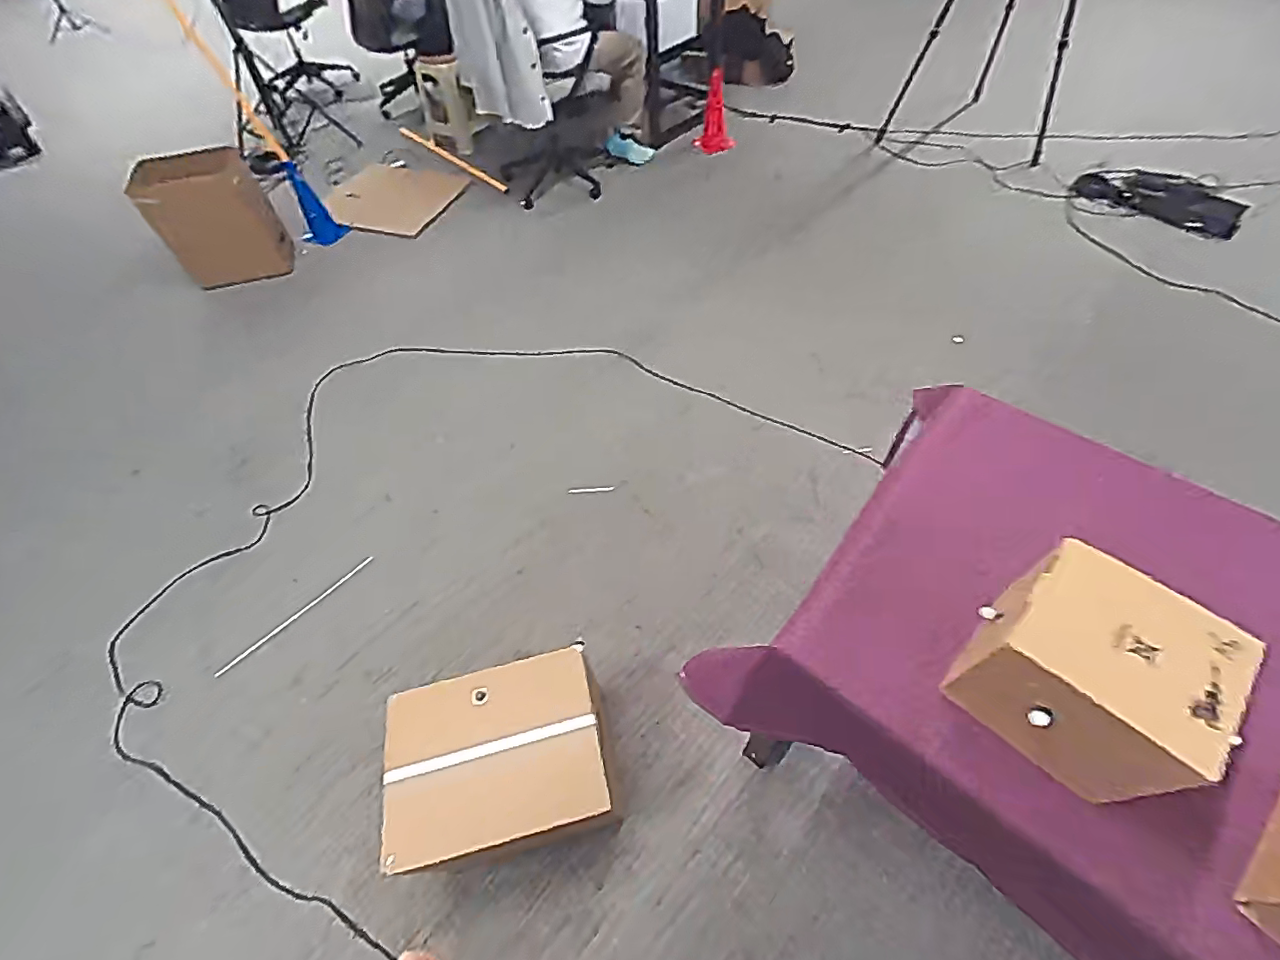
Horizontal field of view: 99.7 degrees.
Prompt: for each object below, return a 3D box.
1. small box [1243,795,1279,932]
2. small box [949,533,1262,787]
[{"bbox_3d":[0.691,0.358,0.455,0.179,0.176,0.168,-37,60,-19],"label":"small box"},{"bbox_3d":[0.475,0.198,0.582,0.179,0.176,0.168,37,65,27],"label":"small box"}]
